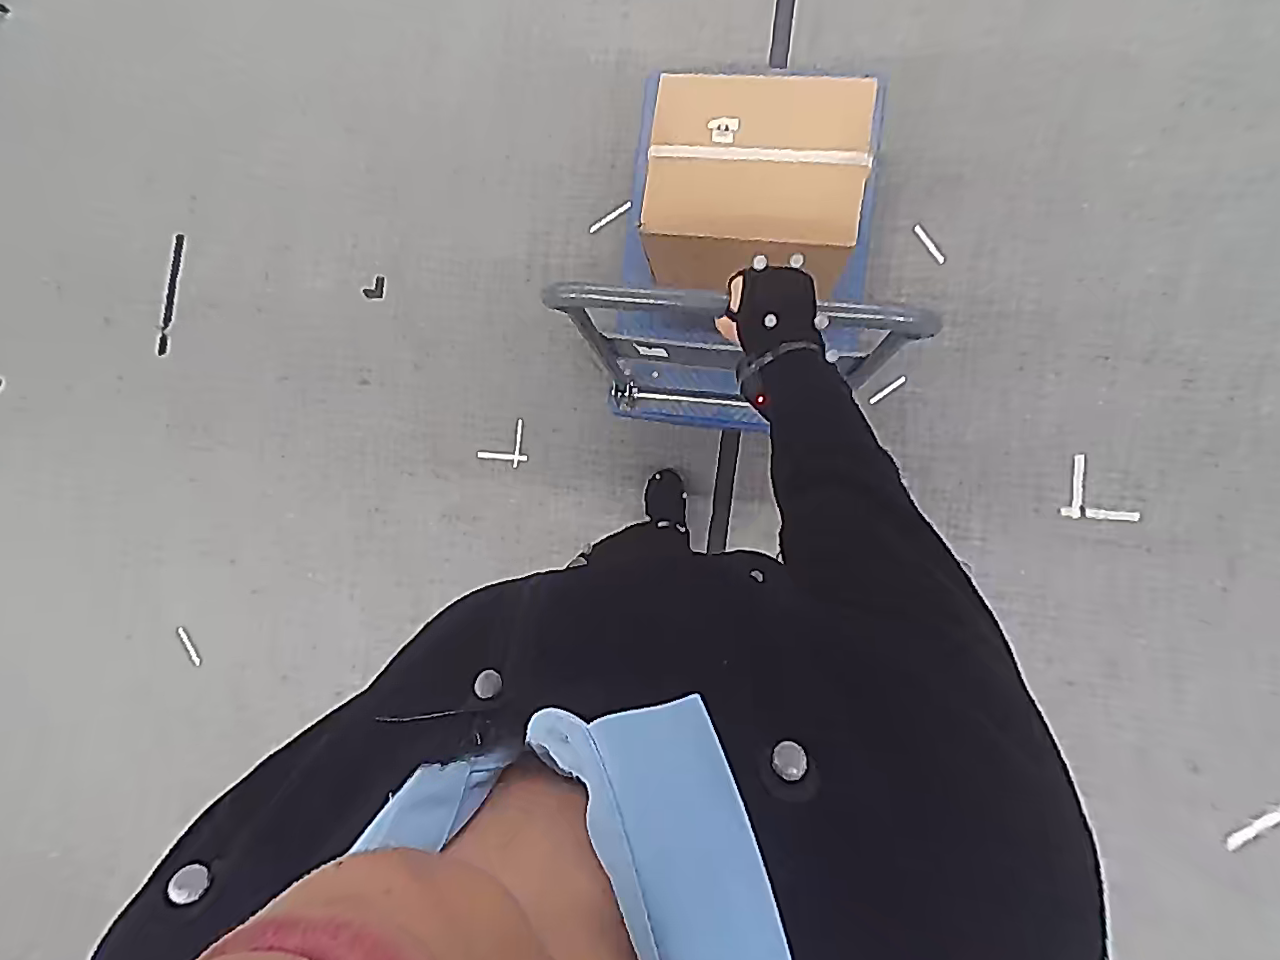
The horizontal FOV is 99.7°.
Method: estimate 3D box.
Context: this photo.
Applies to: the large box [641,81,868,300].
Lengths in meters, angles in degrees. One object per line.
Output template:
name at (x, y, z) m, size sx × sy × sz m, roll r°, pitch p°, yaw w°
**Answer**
large box at (0.239, -0.602, 1.176) m, size 0.408 × 0.320 × 0.320 m, roll 7°, pitch 88°, yaw 10°
